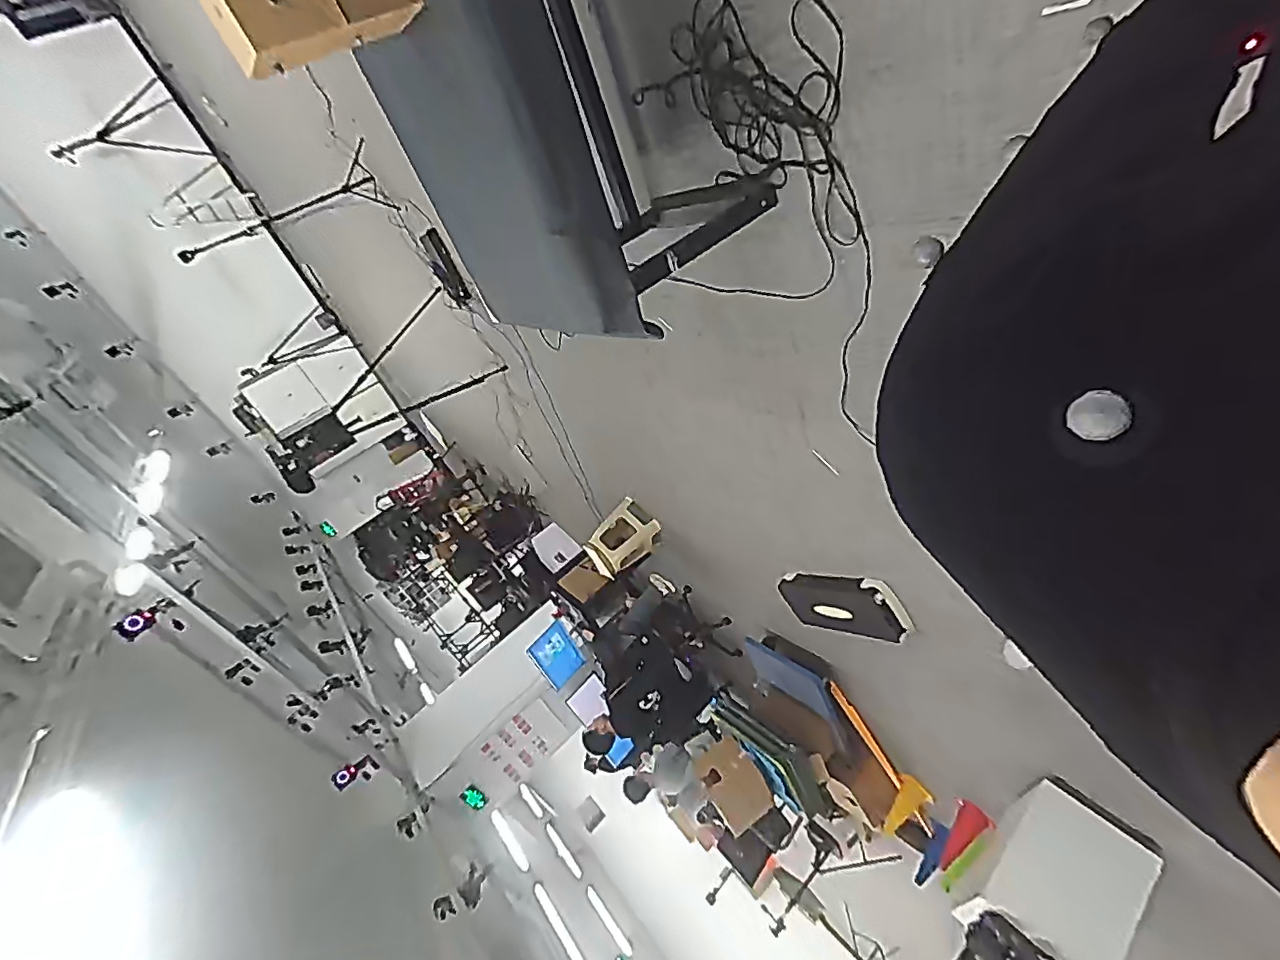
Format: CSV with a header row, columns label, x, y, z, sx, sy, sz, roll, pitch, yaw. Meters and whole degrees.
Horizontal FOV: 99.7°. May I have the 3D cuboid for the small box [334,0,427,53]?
label,x,y,z,sx,sy,sz,roll,pitch,yaw
small box,-0.521,-0.918,0.984,0.179,0.176,0.168,24,148,47

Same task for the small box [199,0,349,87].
label,x,y,z,sx,sy,sz,roll,pitch,yaw
small box,-0.631,-0.815,0.922,0.179,0.176,0.168,26,149,49
